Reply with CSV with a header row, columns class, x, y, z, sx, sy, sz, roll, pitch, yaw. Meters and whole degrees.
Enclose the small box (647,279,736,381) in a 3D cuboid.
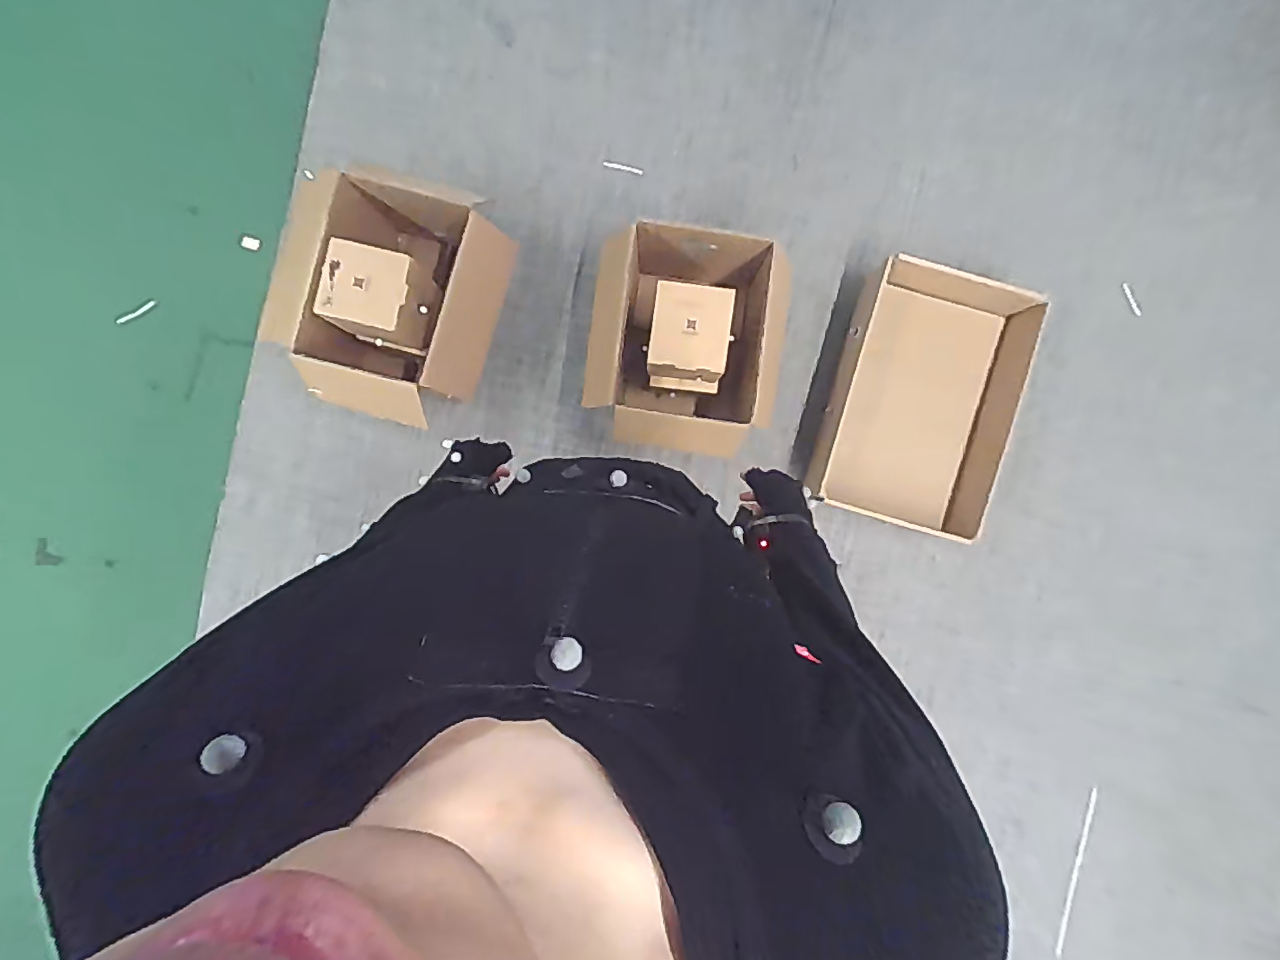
class,x,y,z,sx,sy,sz,roll,pitch,yaw
small box,0.109,-0.323,1.200,0.168,0.176,0.179,8,93,0
